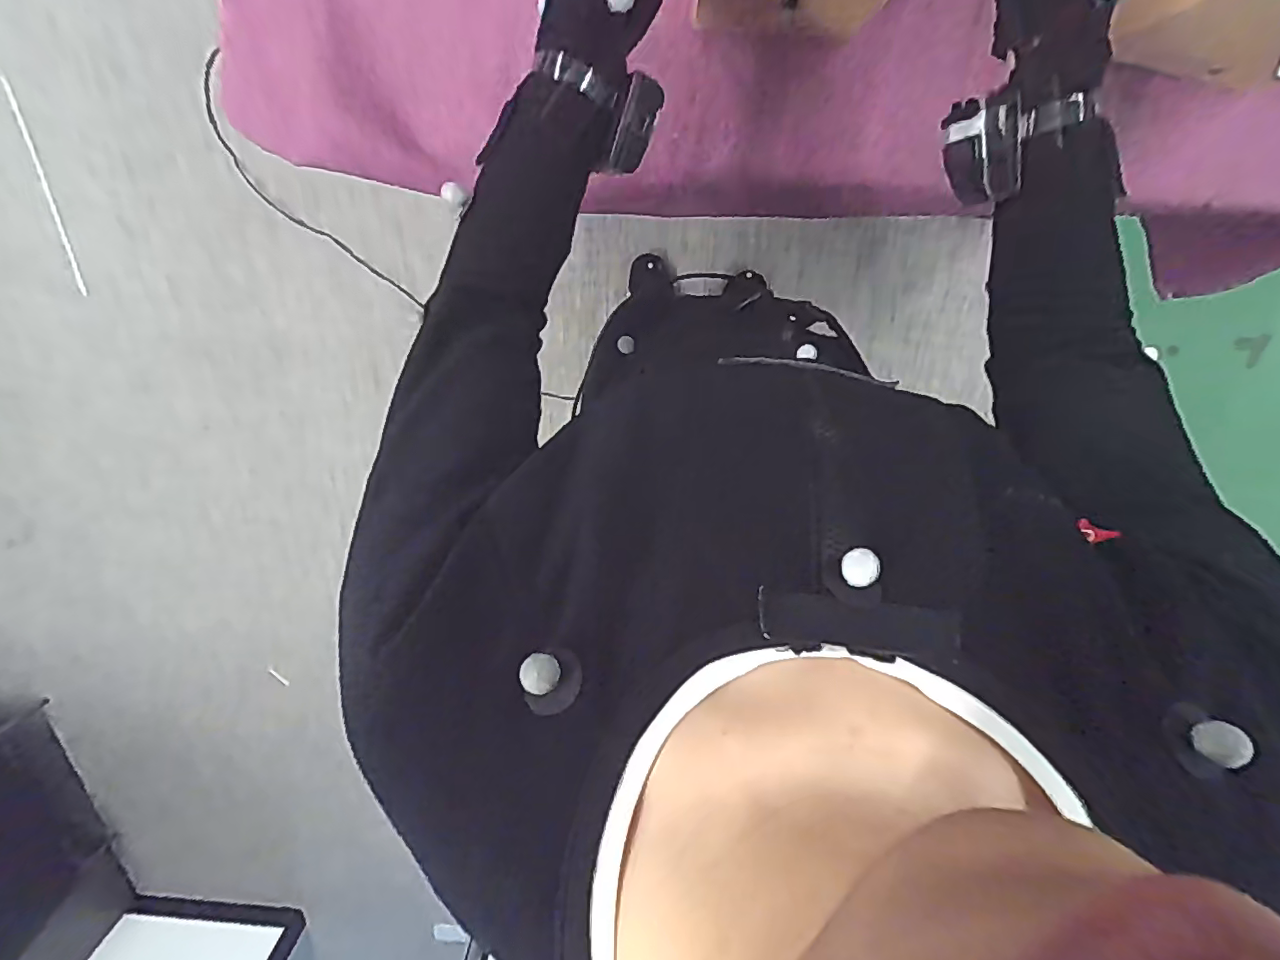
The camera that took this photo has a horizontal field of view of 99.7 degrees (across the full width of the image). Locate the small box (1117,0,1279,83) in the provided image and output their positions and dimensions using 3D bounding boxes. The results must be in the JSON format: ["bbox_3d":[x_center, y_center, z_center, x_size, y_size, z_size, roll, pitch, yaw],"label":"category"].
[{"bbox_3d":[0.541,-0.448,0.424,0.168,0.176,0.179,14,114,-2],"label":"small box"}]
